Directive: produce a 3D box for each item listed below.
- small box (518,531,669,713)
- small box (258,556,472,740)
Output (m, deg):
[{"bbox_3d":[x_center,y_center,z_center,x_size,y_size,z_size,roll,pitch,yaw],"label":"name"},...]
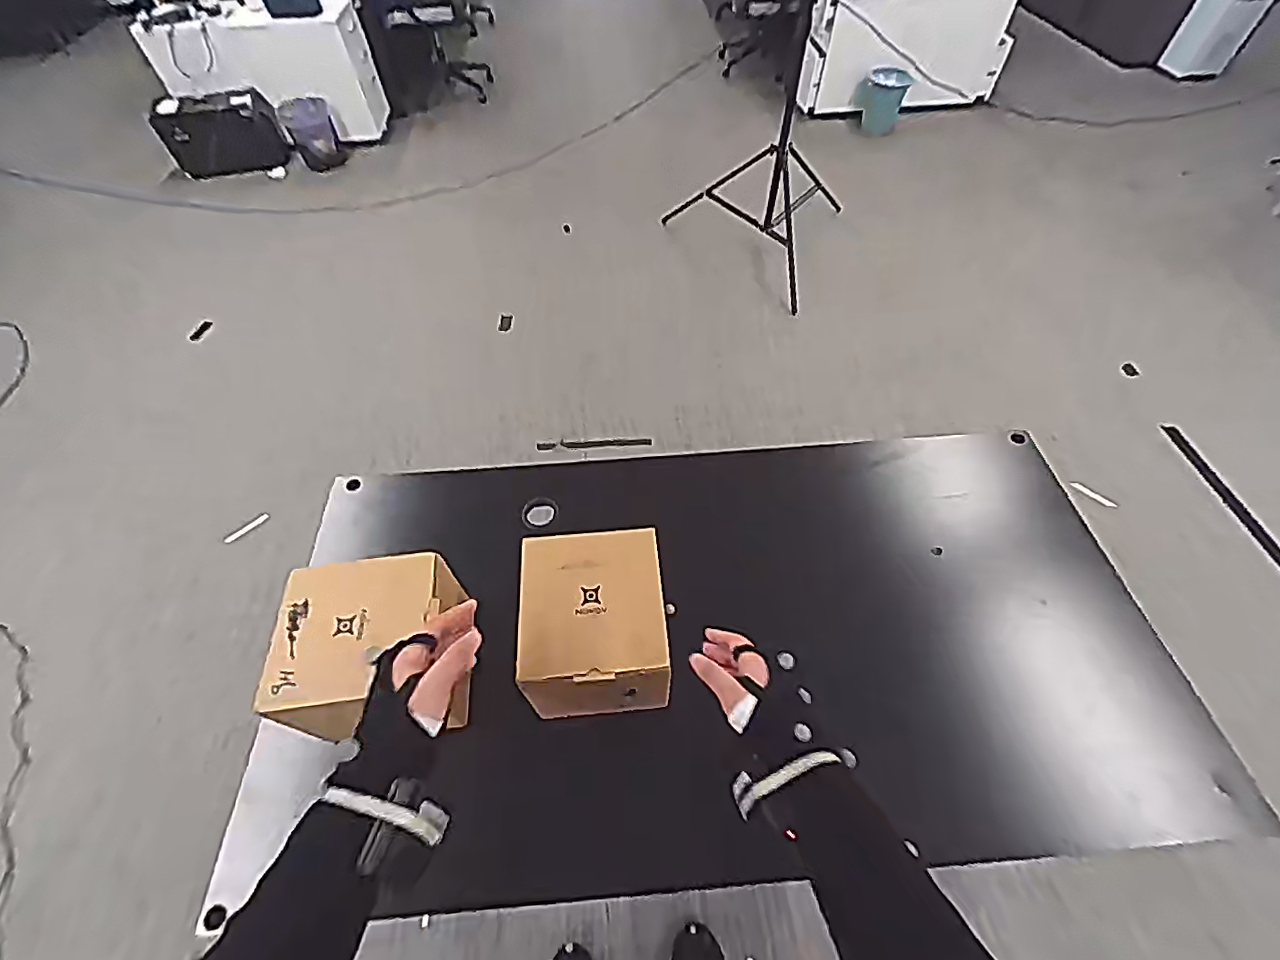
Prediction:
[{"bbox_3d":[-0.055,0.185,0.685,0.168,0.176,0.179,-4,54,-4],"label":"small box"},{"bbox_3d":[-0.315,0.211,0.668,0.179,0.176,0.168,-5,54,-5],"label":"small box"}]
